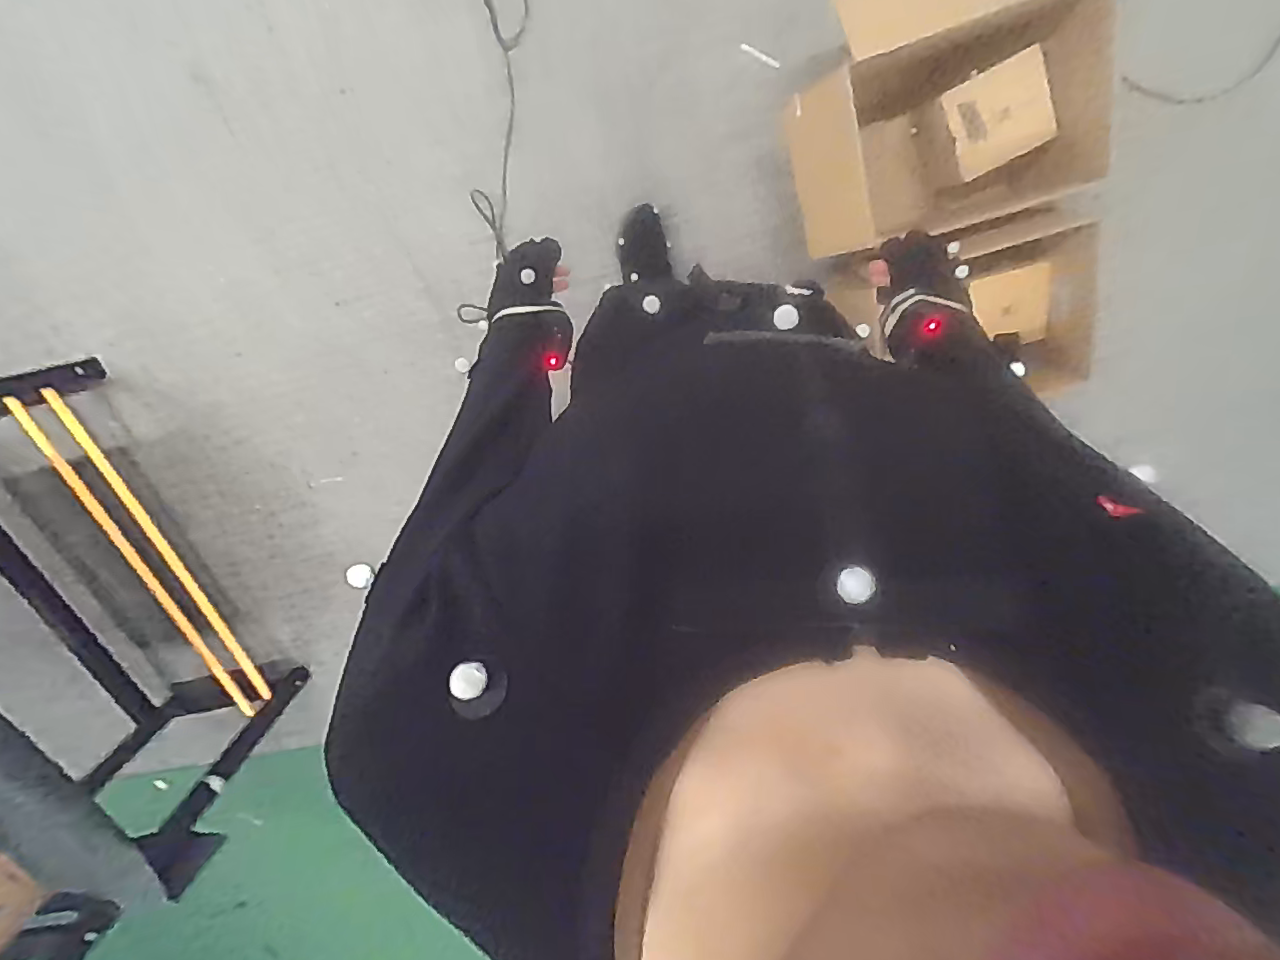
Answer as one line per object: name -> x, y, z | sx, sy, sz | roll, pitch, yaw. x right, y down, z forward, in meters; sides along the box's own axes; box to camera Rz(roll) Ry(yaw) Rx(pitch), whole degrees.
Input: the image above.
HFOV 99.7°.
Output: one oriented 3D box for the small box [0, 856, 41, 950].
small box -> -1.441, 0.924, 1.136 | 0.179, 0.176, 0.168 | -11, 113, 8
